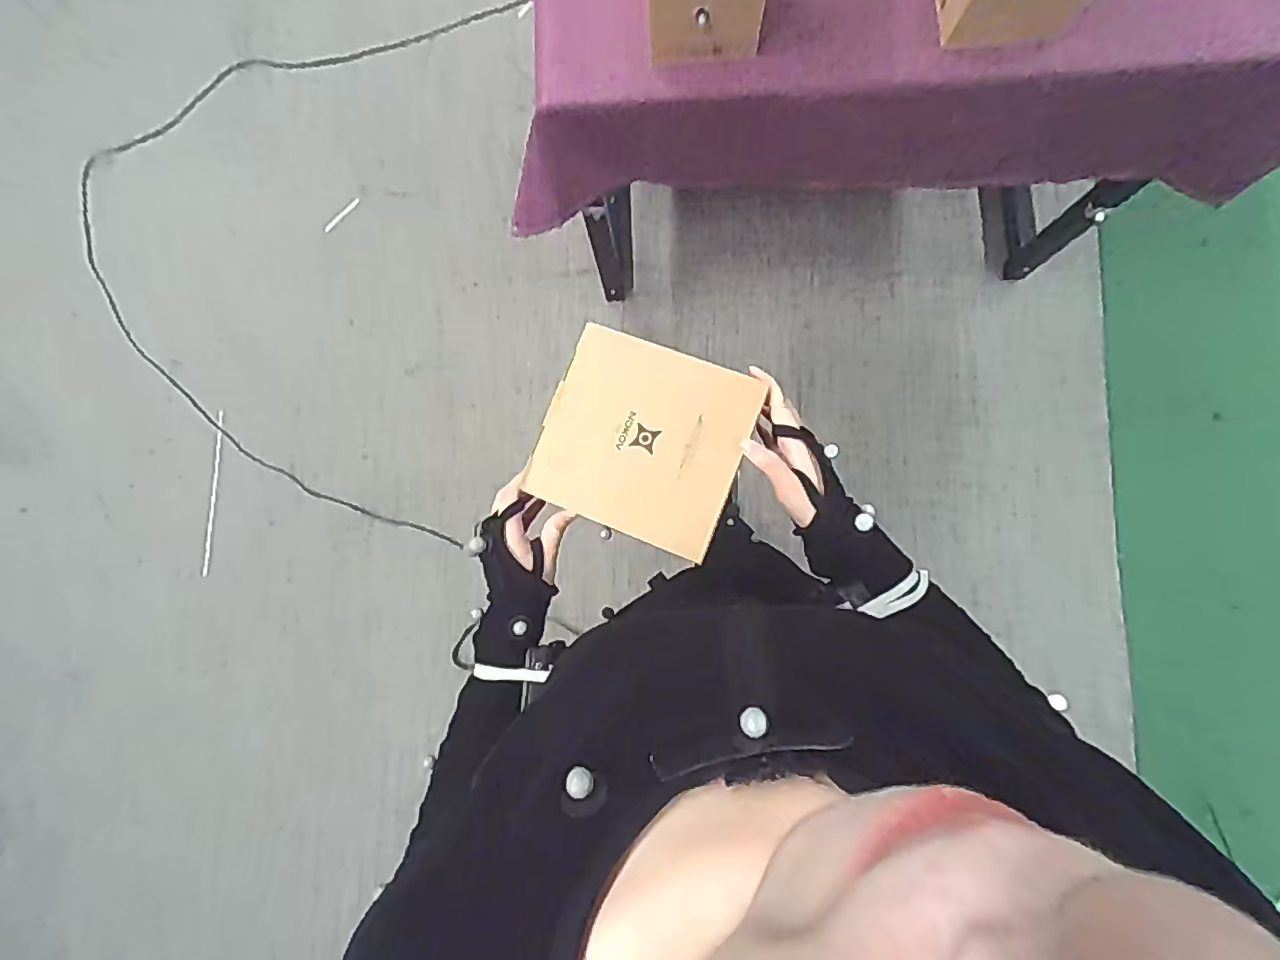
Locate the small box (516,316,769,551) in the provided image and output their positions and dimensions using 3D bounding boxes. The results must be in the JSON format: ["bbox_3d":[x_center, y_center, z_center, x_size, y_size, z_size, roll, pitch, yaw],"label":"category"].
[{"bbox_3d":[0.011,-0.032,0.543,0.179,0.176,0.168,22,85,10],"label":"small box"}]

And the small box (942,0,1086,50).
[{"bbox_3d":[0.539,-0.744,0.752,0.179,0.176,0.168,-3,83,4],"label":"small box"}]

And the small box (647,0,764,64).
[{"bbox_3d":[0.093,-0.740,0.779,0.168,0.176,0.179,-1,82,3],"label":"small box"}]
